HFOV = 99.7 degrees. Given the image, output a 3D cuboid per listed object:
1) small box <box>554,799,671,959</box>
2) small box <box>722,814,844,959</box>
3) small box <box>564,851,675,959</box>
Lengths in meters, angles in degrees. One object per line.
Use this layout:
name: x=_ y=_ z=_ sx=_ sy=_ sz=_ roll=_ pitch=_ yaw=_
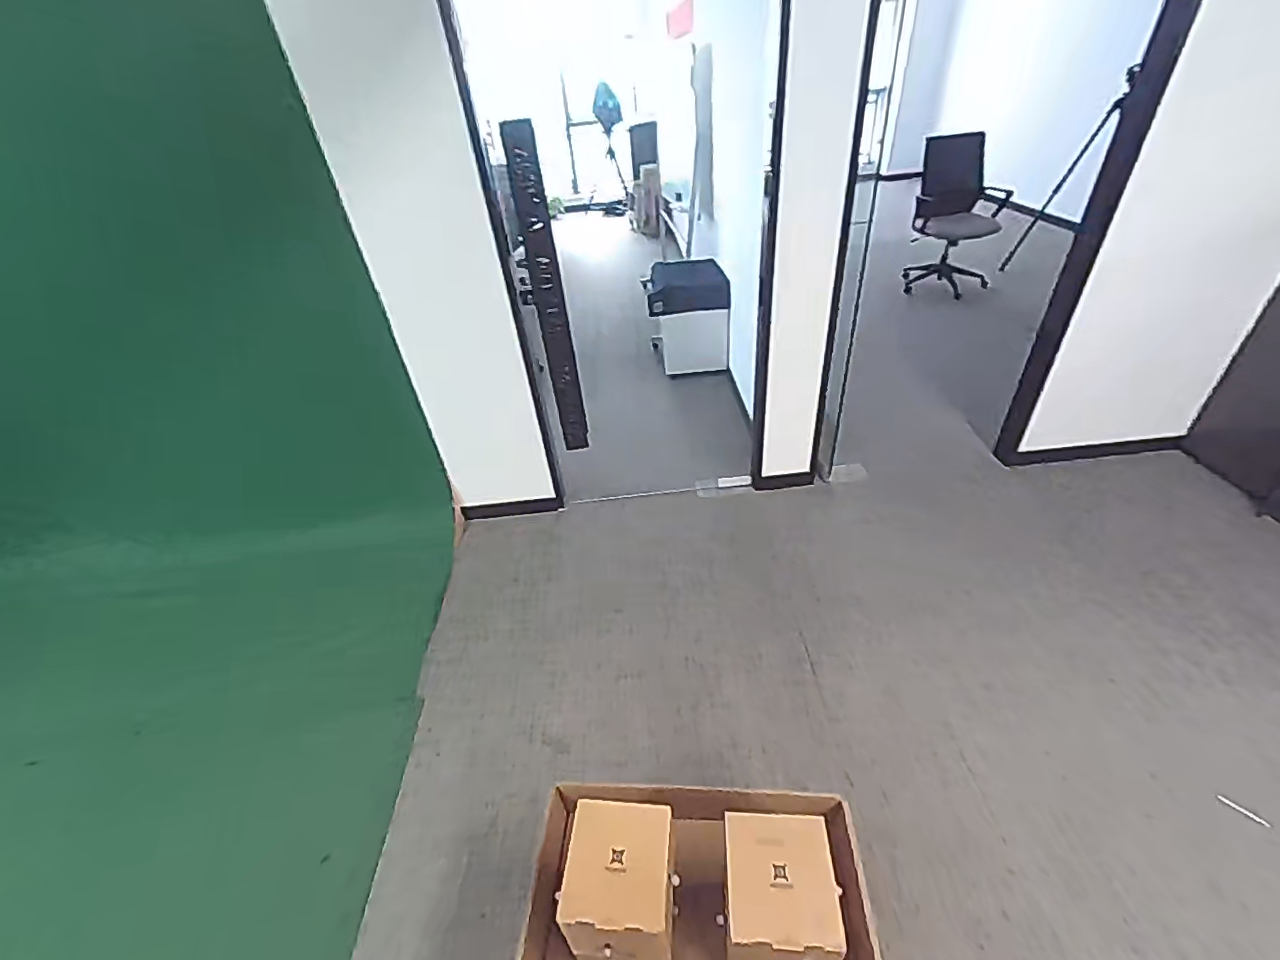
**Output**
small box: x=-0.036 y=0.672 z=0.908 sx=0.168 sy=0.176 sz=0.179 roll=1 pitch=37 yaw=7
small box: x=0.218 y=0.672 z=0.871 sx=0.168 sy=0.176 sz=0.179 roll=0 pitch=36 yaw=6
small box: x=-0.030 y=0.800 z=1.011 sx=0.179 sy=0.176 sz=0.168 roll=1 pitch=37 yaw=7
